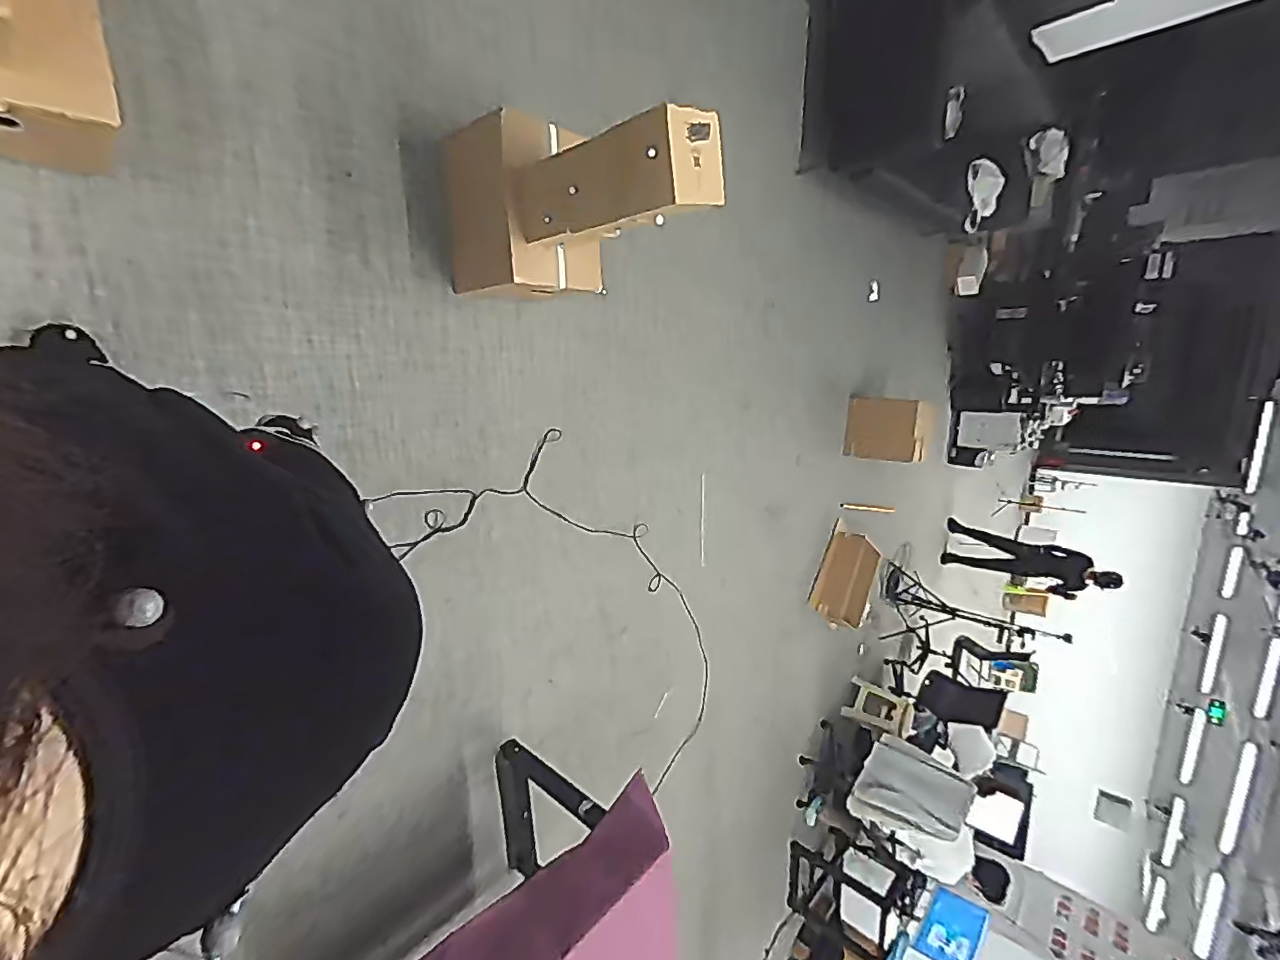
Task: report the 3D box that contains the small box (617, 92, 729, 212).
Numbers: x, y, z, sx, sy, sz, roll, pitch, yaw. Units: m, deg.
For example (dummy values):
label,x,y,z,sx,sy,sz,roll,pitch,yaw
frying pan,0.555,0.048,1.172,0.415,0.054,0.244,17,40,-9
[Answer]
label,x,y,z,sx,sy,sz,roll,pitch,yaw
small box,0.068,-0.679,1.140,0.168,0.176,0.179,-25,116,-39

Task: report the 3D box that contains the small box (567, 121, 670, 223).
label,x,y,z,sx,sy,sz,roll,pitch,yaw
small box,-0.049,-0.702,1.255,0.168,0.176,0.179,-24,116,-40
